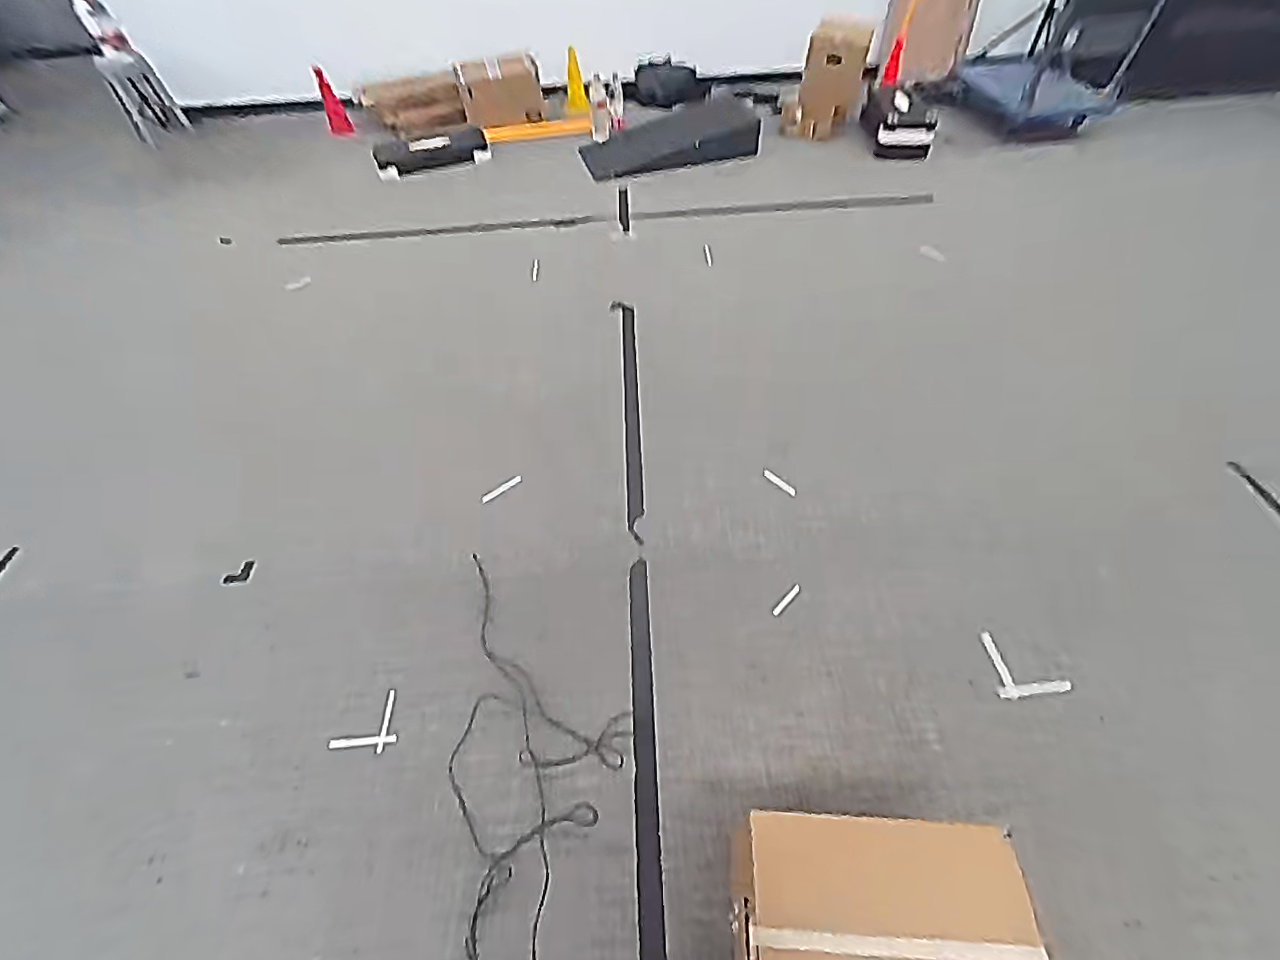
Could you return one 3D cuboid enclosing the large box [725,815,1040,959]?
[{"bbox_3d":[0.364,0.761,0.881,0.408,0.320,0.320,2,51,2],"label":"large box"}]
